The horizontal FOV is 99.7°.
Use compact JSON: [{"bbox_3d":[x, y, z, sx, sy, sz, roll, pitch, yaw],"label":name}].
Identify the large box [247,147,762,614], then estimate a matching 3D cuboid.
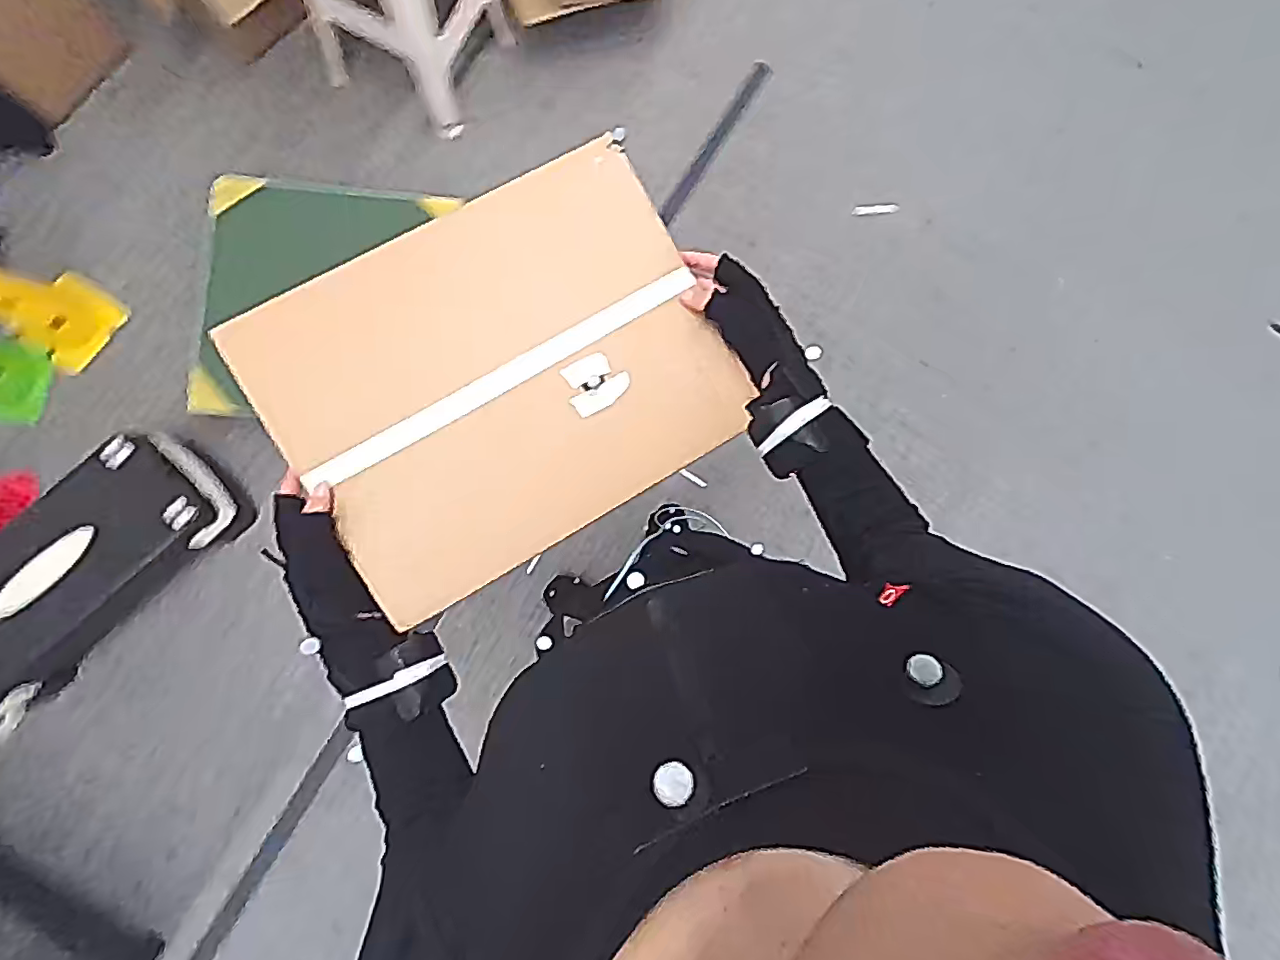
[{"bbox_3d":[-0.137,-0.099,0.667,0.408,0.320,0.320,-30,94,-8],"label":"large box"}]
